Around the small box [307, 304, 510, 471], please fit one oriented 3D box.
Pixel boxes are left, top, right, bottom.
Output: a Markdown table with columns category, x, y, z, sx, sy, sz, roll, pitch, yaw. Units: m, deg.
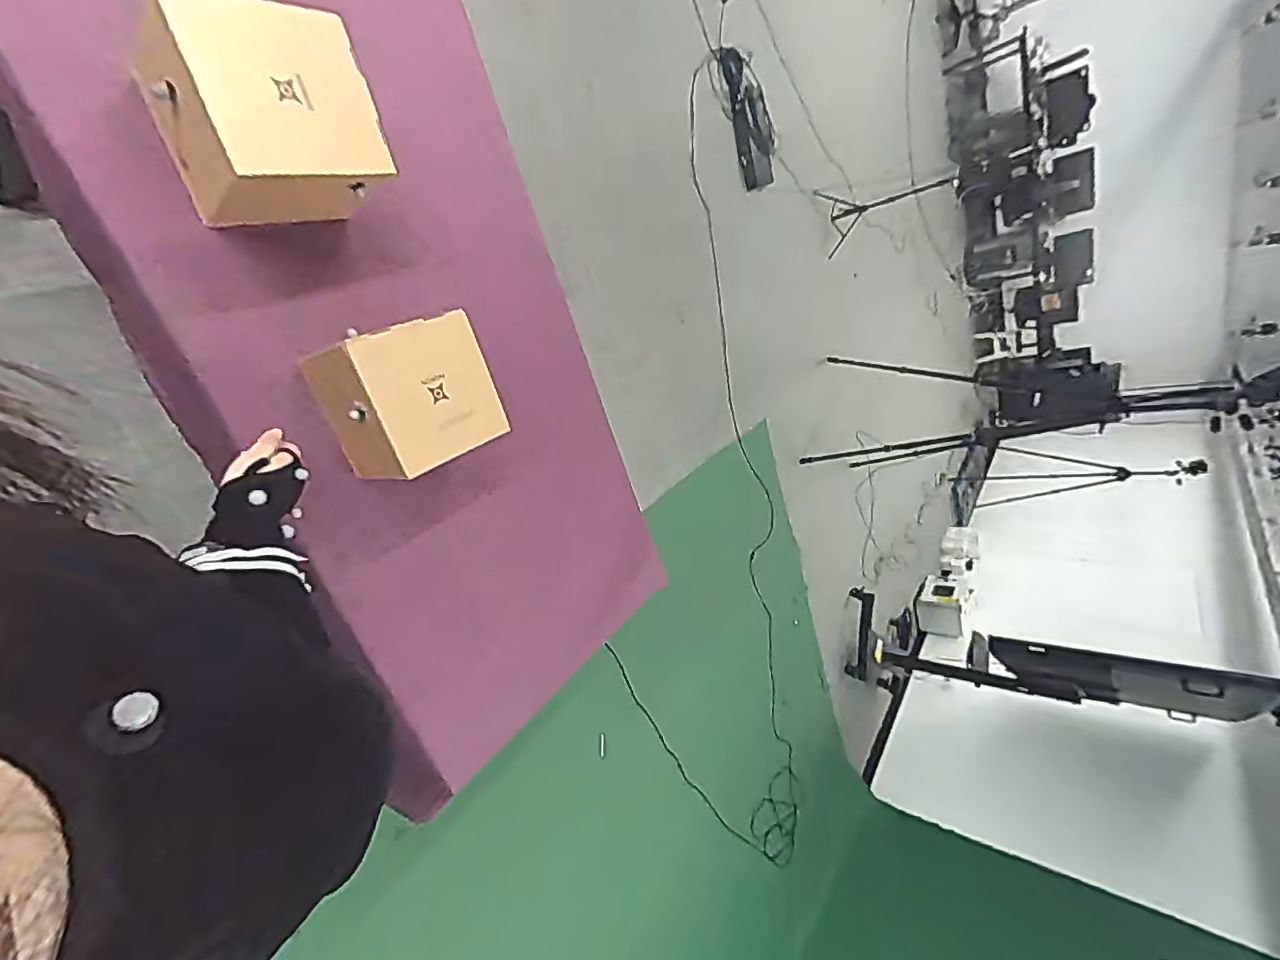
| category | x | y | z | sx | sy | sz | roll | pitch | yaw |
| --- | --- | --- | --- | --- | --- | --- | --- | --- | --- |
| small box | -0.315 | -0.121 | 0.737 | 0.168 | 0.176 | 0.179 | -35 | 116 | -41 |

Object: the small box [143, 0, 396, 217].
| category | x | y | z | sx | sy | sz | roll | pitch | yaw |
| --- | --- | --- | --- | --- | --- | --- | --- | --- | --- |
| small box | -0.422 | -0.414 | 0.617 | 0.179 | 0.176 | 0.168 | -33 | 114 | -43 |
